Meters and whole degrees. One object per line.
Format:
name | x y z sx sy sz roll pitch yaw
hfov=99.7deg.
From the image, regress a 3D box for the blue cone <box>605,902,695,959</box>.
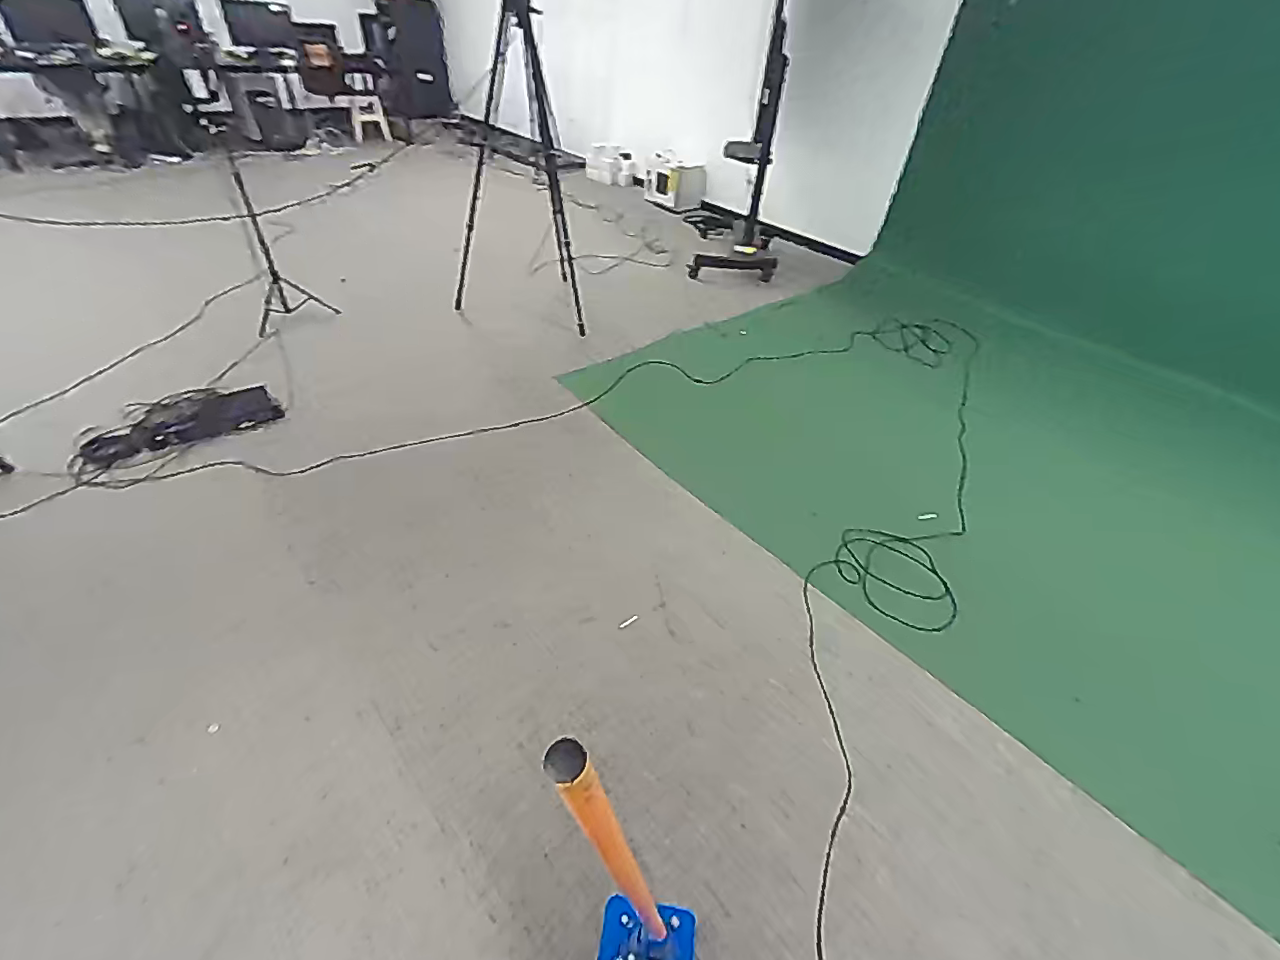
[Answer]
blue cone | 0.023 0.873 1.004 0.193 0.380 0.192 6 42 4
